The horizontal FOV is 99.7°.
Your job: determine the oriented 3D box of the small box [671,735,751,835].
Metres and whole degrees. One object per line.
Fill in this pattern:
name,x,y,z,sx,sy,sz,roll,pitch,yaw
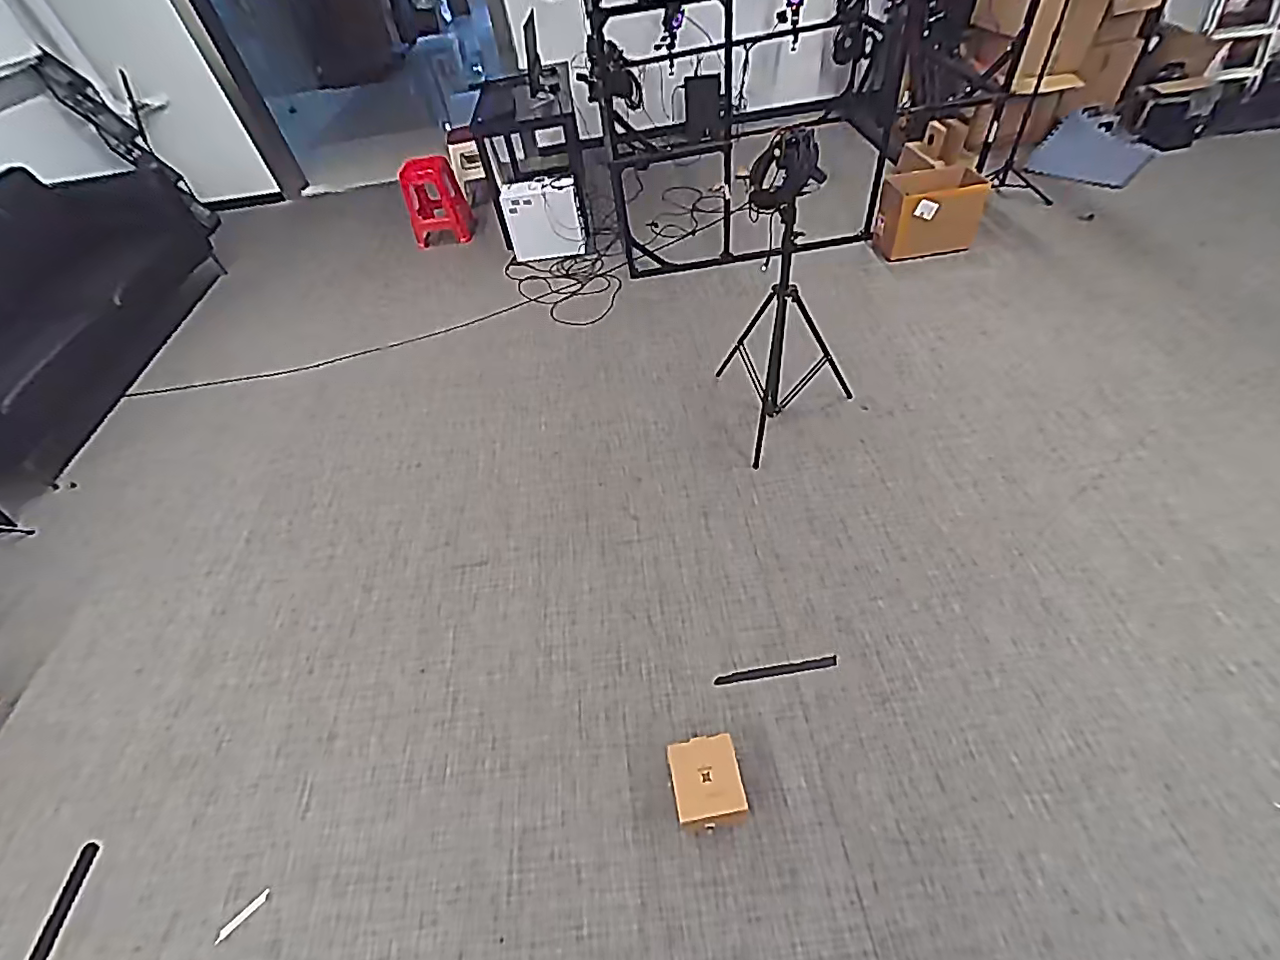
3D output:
small box,0.178,0.776,1.374,0.168,0.176,0.179,-11,49,0
